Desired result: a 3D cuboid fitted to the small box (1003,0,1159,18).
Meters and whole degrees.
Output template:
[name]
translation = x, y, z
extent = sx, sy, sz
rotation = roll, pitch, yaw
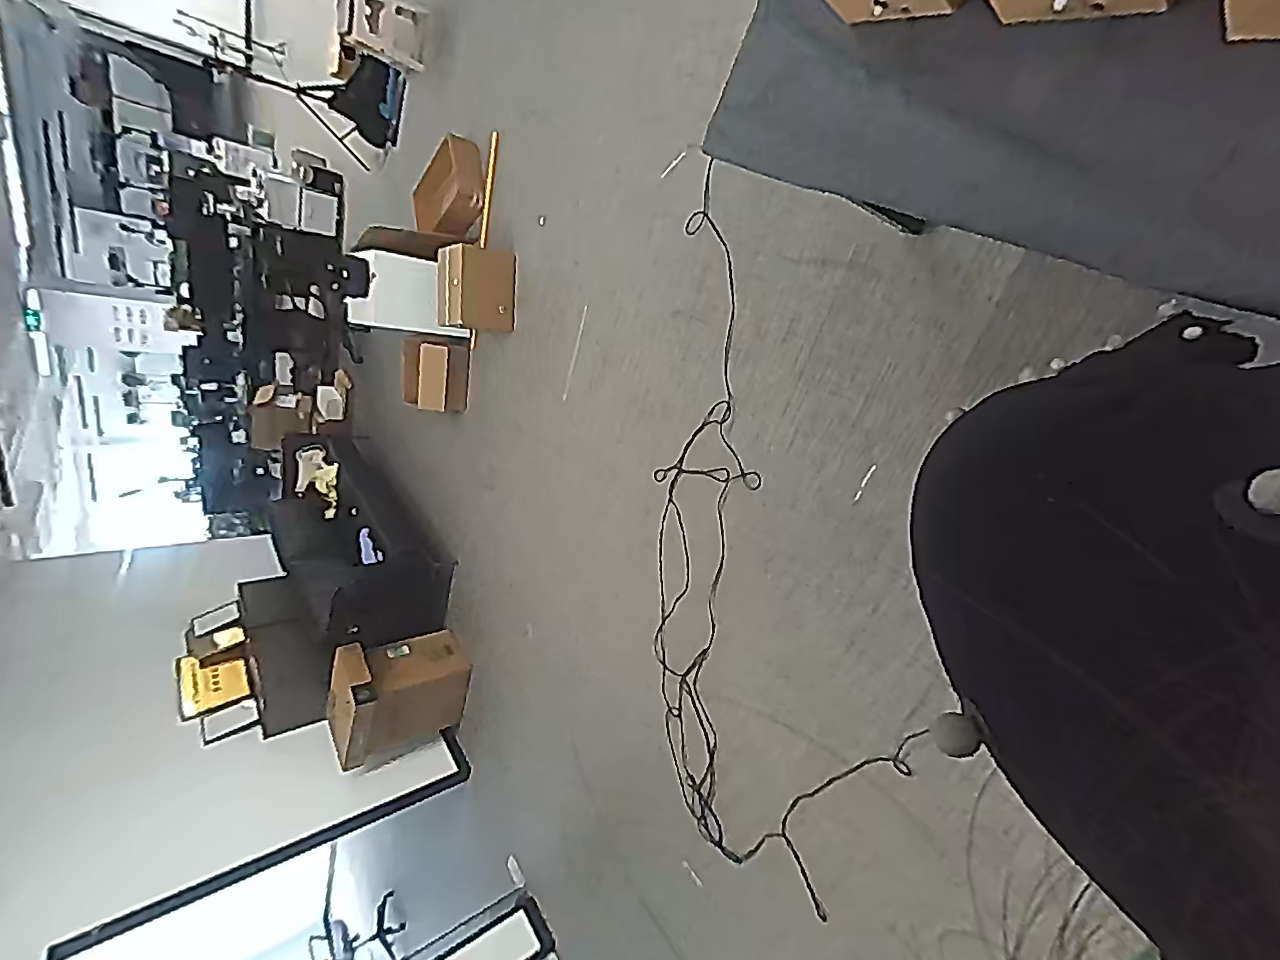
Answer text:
[small box]
translation = 0.446, -0.590, 0.514
extent = 0.168, 0.176, 0.179
rotation = 38, 120, 40
